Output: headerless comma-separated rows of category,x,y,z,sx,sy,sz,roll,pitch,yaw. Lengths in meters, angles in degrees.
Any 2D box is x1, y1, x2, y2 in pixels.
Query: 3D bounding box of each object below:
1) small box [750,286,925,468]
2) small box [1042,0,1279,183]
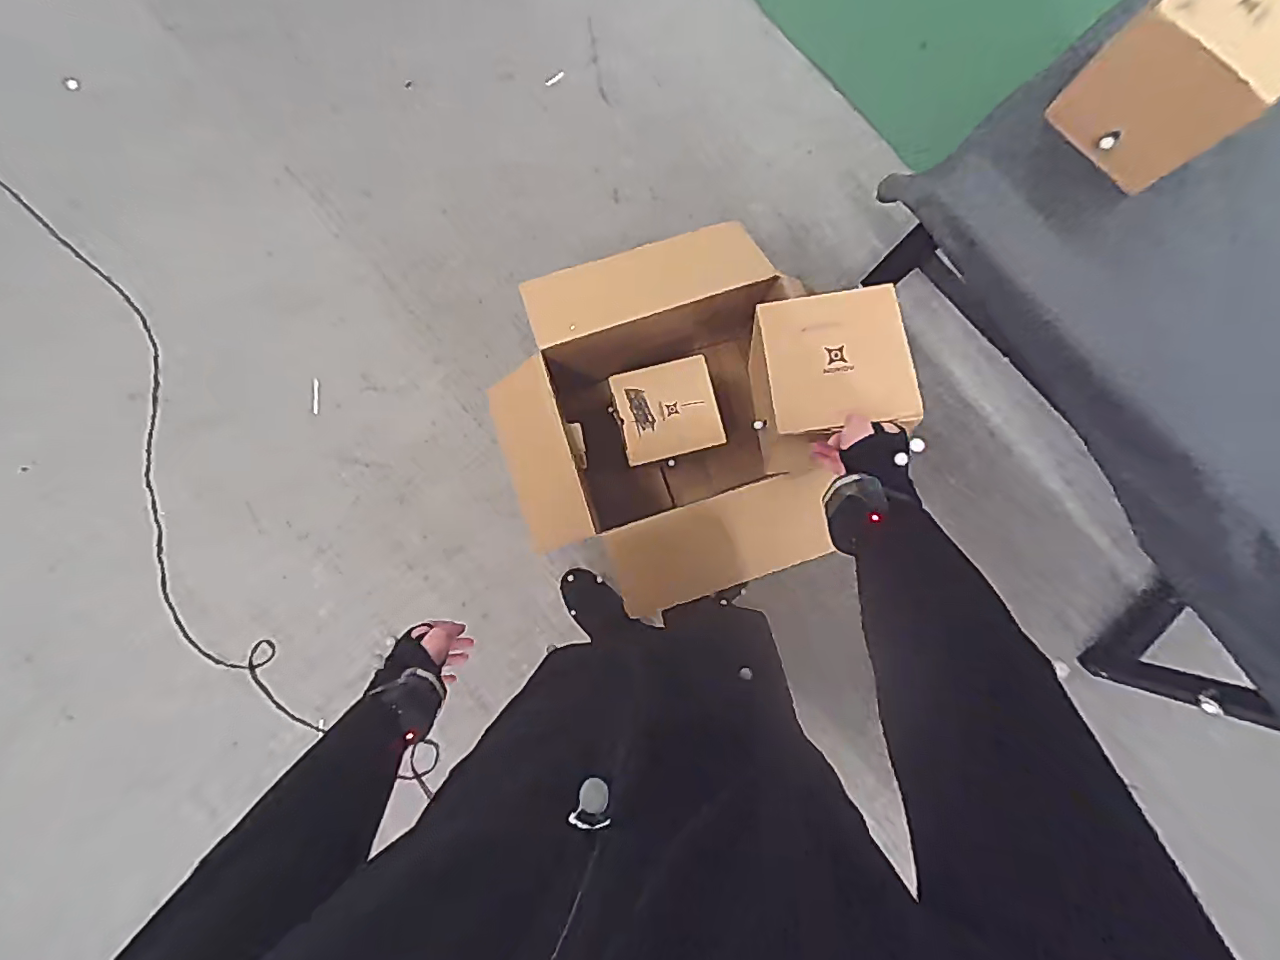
small box,0.241,-0.121,0.708,0.168,0.176,0.179,-6,73,4
small box,0.693,-0.529,0.704,0.179,0.176,0.168,43,84,0
